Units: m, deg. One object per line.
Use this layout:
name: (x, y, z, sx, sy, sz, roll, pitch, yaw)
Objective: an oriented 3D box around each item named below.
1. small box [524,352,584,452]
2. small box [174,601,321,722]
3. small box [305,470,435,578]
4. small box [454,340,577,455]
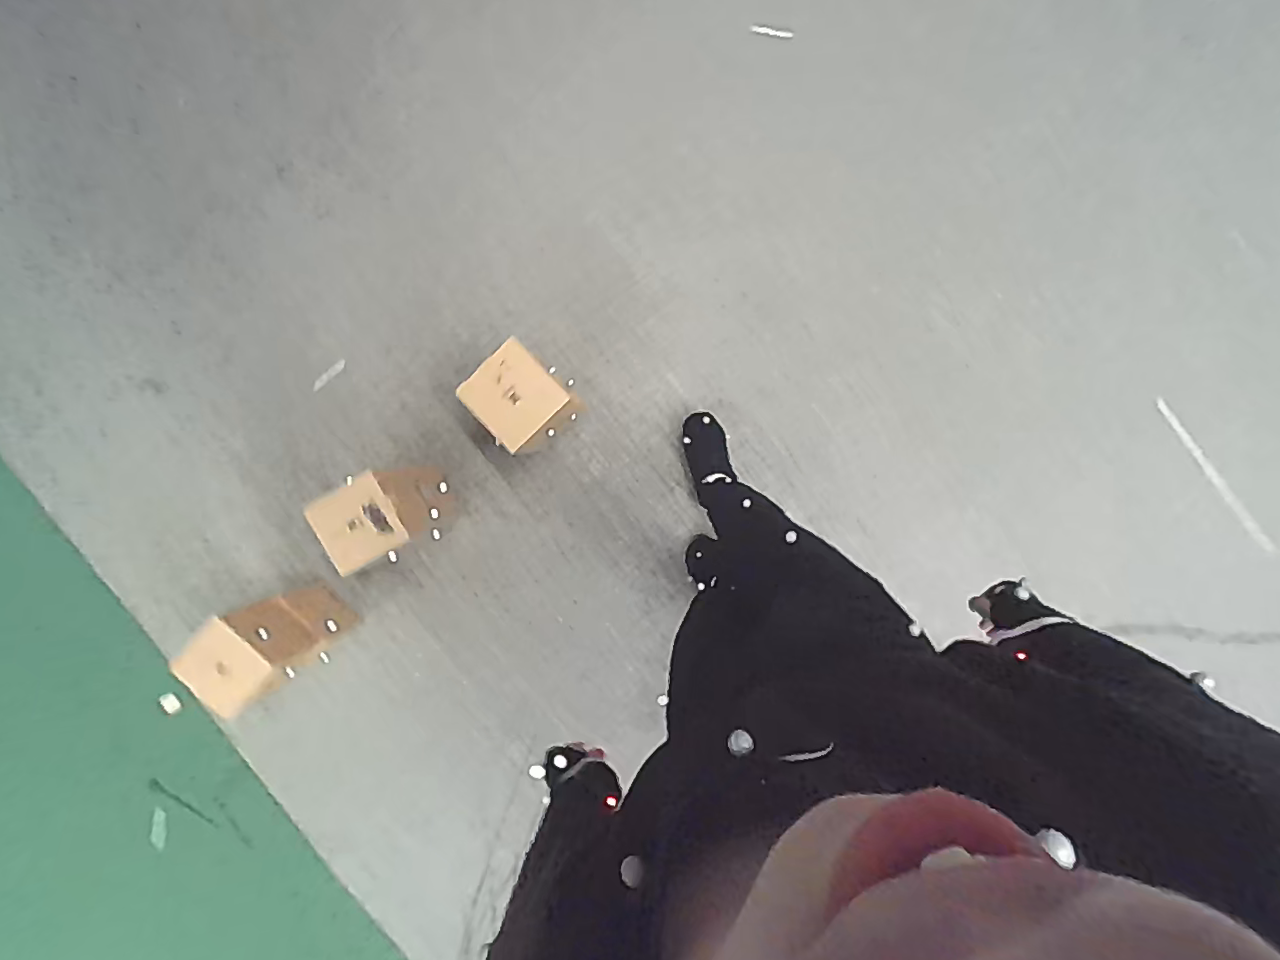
small box: (-0.257, -0.185, 1.337, 0.179, 0.176, 0.168, -43, 91, 4)
small box: (-0.887, 0.404, 1.240, 0.179, 0.176, 0.168, 42, 94, 0)
small box: (-0.585, 0.088, 1.204, 0.179, 0.176, 0.168, -30, 92, 5)
small box: (-0.258, -0.174, 1.172, 0.168, 0.176, 0.179, -43, 91, 4)
